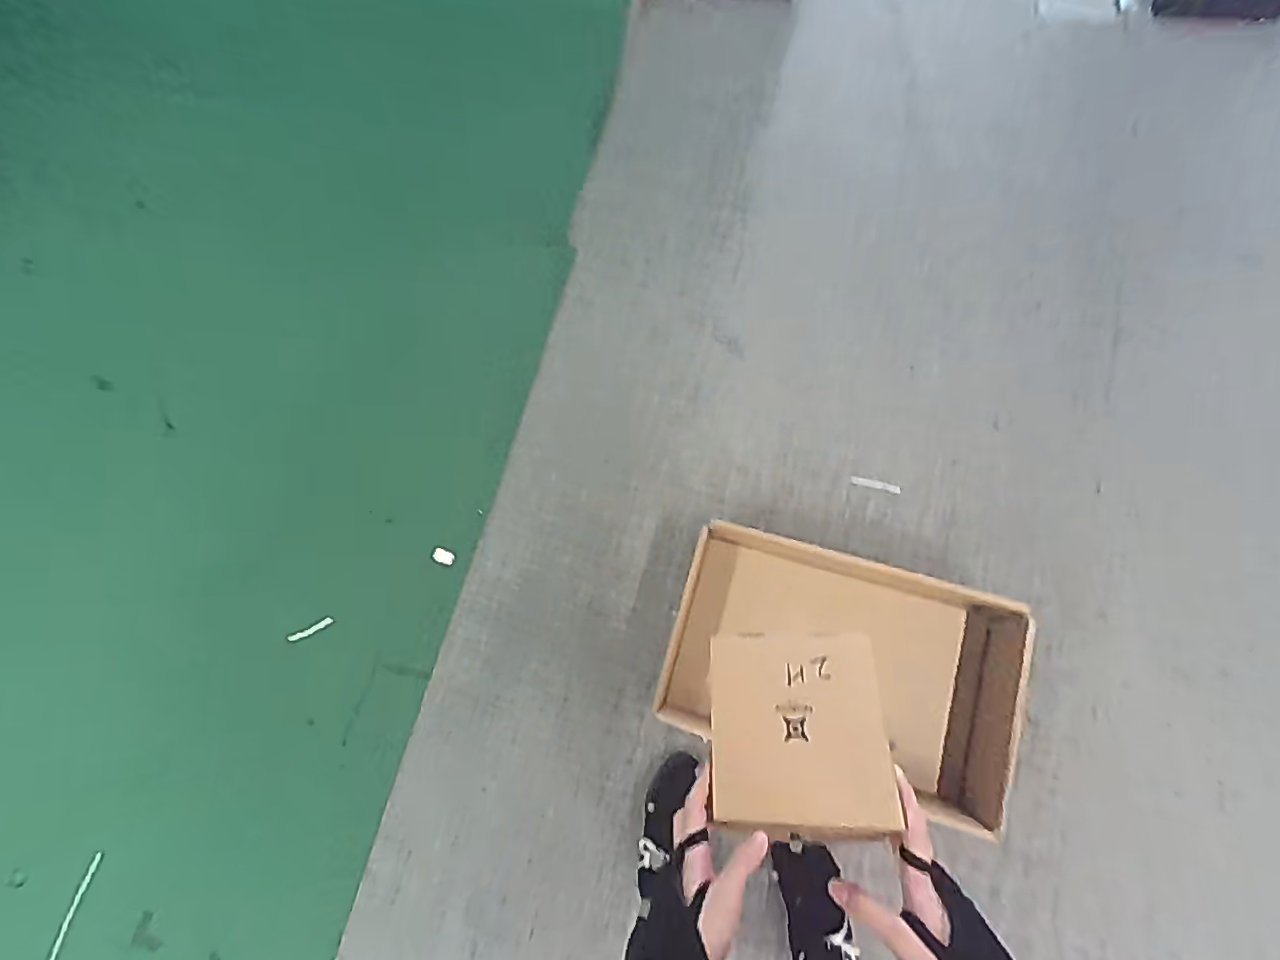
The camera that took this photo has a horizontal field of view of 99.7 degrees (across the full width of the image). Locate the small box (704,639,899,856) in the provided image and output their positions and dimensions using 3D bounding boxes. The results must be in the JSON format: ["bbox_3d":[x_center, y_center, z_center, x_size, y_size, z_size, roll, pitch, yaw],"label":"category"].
[{"bbox_3d":[0.158,0.286,0.576,0.168,0.176,0.179,-3,50,10],"label":"small box"}]
